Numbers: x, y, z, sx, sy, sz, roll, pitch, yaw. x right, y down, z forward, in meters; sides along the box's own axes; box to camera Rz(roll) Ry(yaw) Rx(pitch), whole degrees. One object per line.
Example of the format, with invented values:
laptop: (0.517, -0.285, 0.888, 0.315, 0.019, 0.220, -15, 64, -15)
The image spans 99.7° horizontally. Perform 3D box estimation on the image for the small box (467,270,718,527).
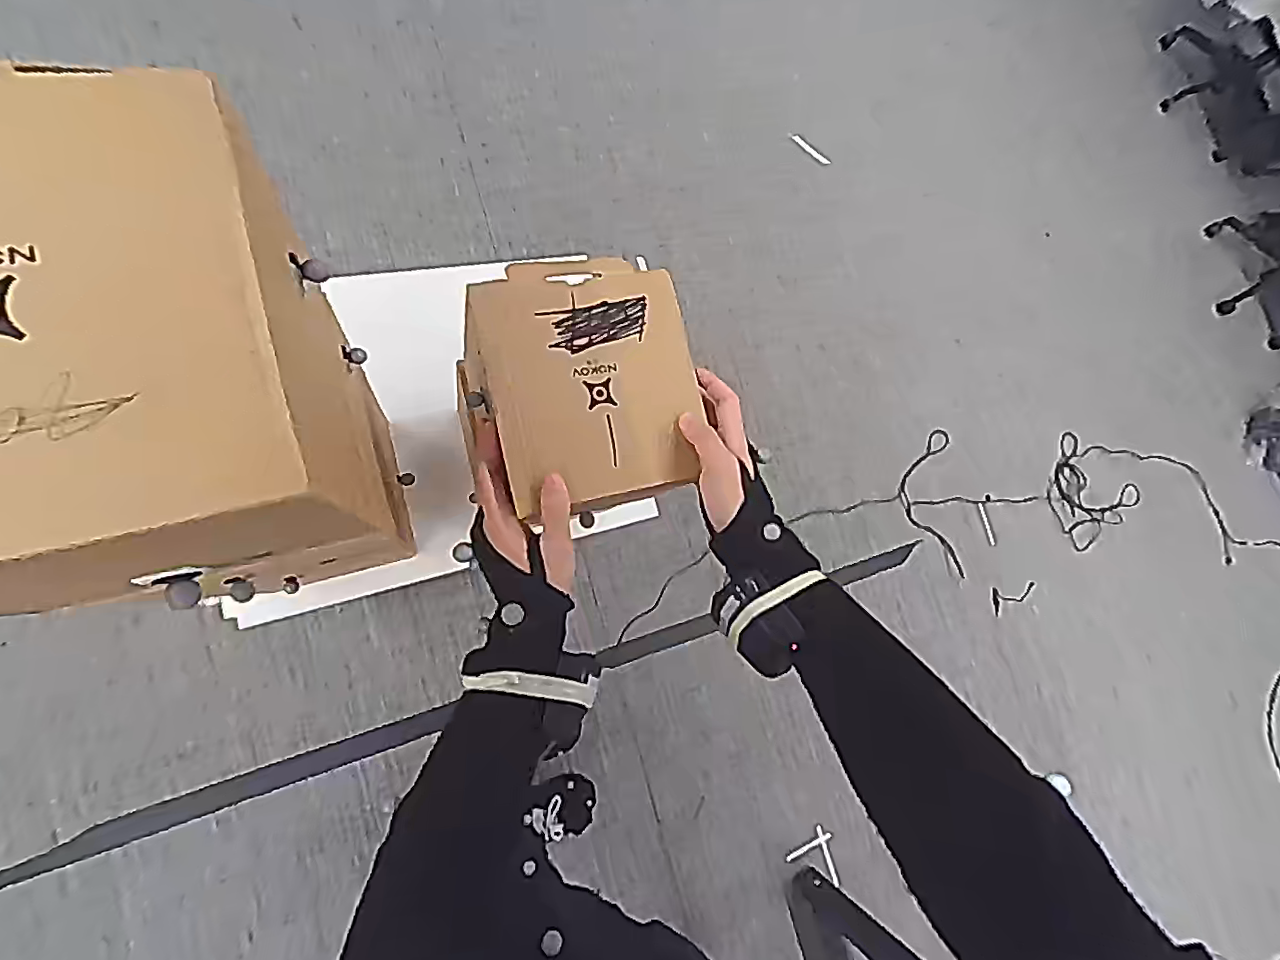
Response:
small box: (-0.056, -0.062, 0.484, 0.168, 0.176, 0.179, -12, 86, -19)

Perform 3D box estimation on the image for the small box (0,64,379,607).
small box: (-0.238, -0.045, 0.251, 0.168, 0.176, 0.179, -15, 86, -19)

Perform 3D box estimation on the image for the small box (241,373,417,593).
small box: (-0.337, 0.011, 0.555, 0.168, 0.176, 0.179, -13, 83, -19)

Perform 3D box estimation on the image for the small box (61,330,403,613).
small box: (-0.288, -0.015, 0.403, 0.168, 0.176, 0.179, -15, 84, -20)
